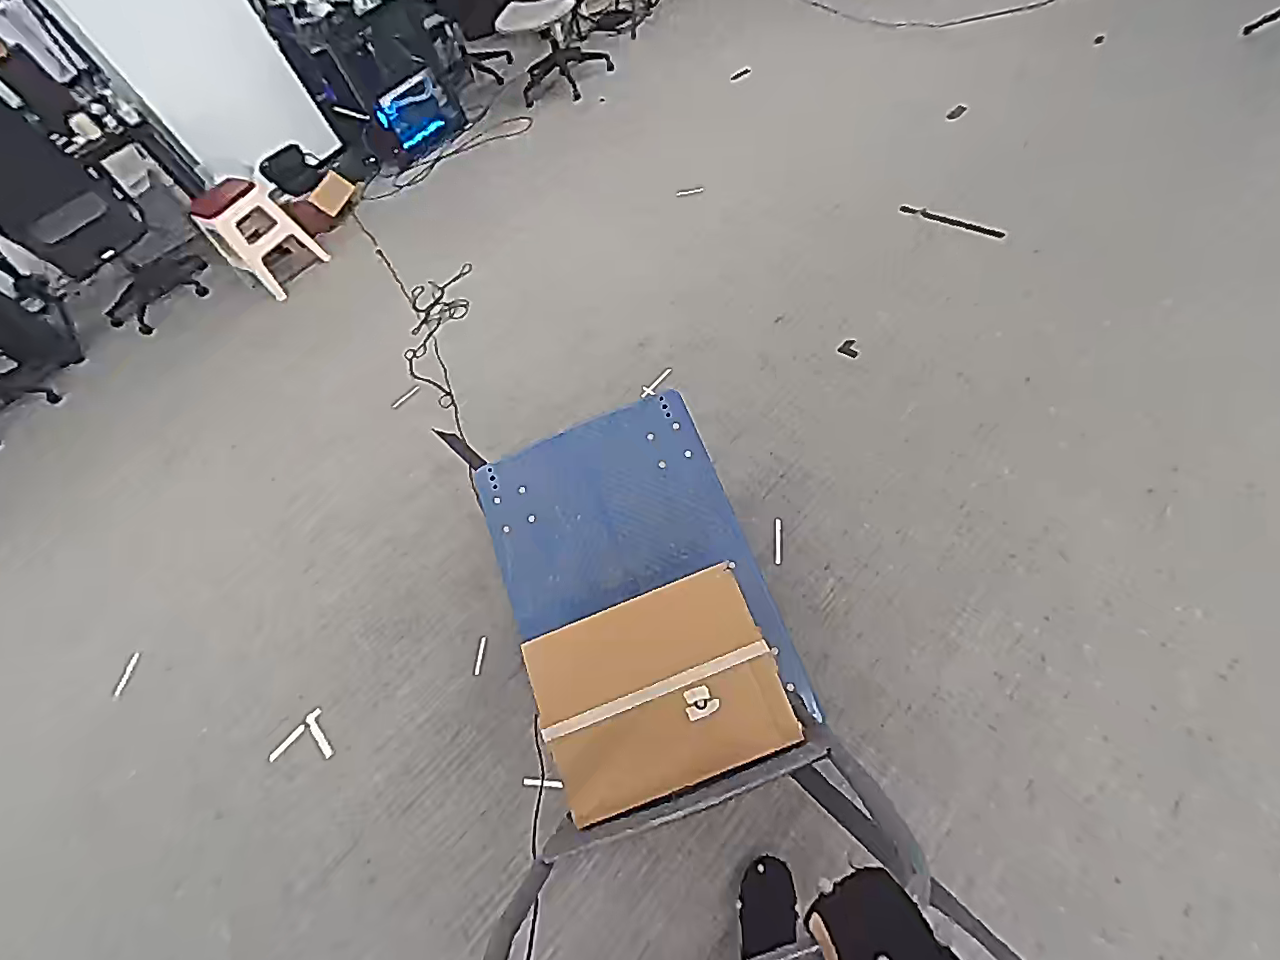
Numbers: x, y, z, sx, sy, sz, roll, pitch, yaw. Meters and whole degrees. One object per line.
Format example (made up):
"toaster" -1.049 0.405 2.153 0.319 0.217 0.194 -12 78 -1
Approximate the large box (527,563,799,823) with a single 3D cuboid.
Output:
"large box" 0.046 0.403 1.081 0.408 0.320 0.320 -23 73 1
